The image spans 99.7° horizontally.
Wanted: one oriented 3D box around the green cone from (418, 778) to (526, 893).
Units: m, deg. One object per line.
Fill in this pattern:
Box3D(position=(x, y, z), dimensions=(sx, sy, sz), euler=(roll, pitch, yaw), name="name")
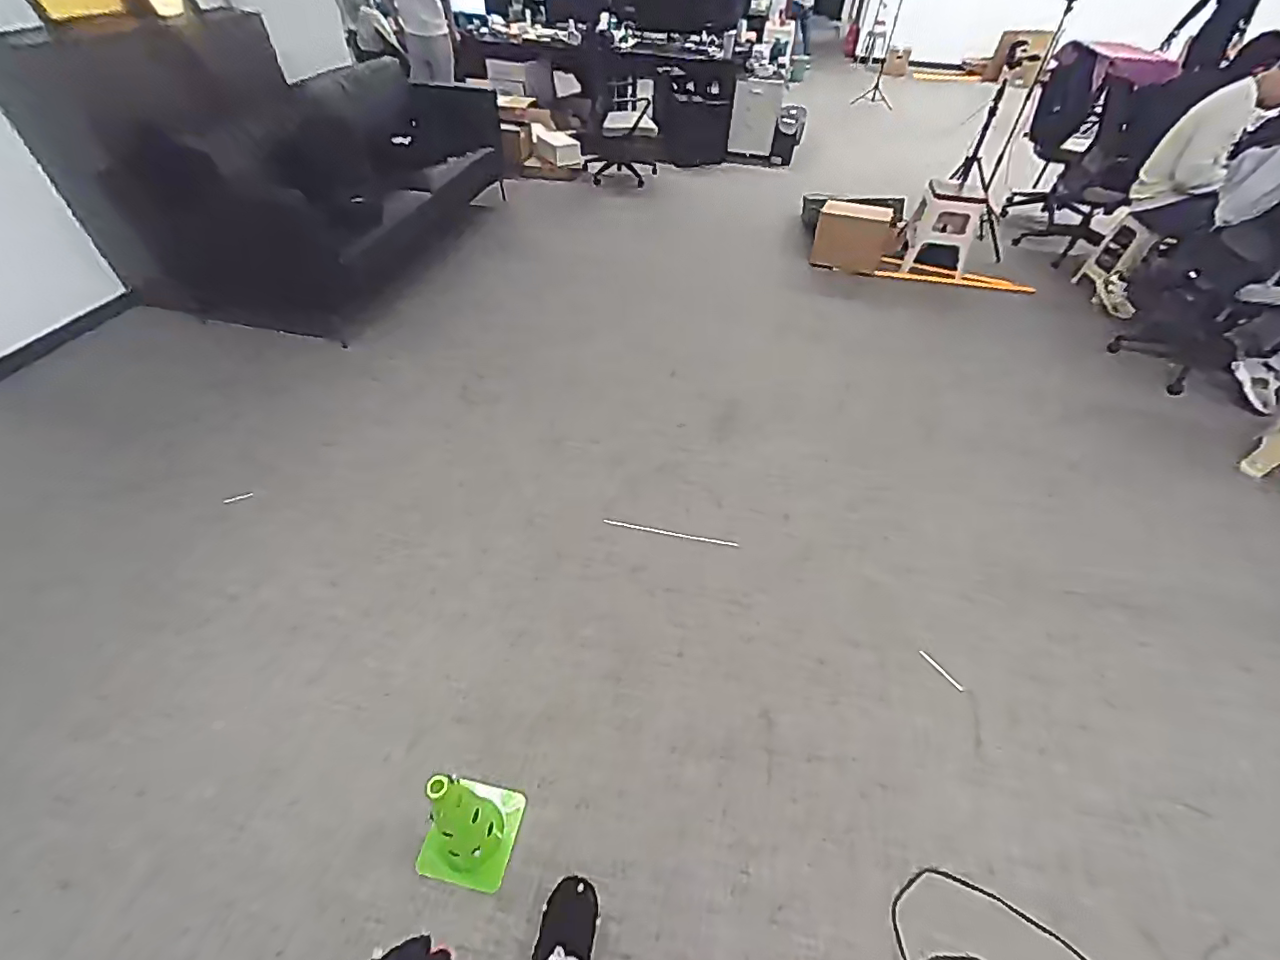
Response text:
Box3D(position=(-0.378, 0.700, 1.130), dimensions=(0.202, 0.368, 0.200), euler=(10, 47, 6), name="green cone")
